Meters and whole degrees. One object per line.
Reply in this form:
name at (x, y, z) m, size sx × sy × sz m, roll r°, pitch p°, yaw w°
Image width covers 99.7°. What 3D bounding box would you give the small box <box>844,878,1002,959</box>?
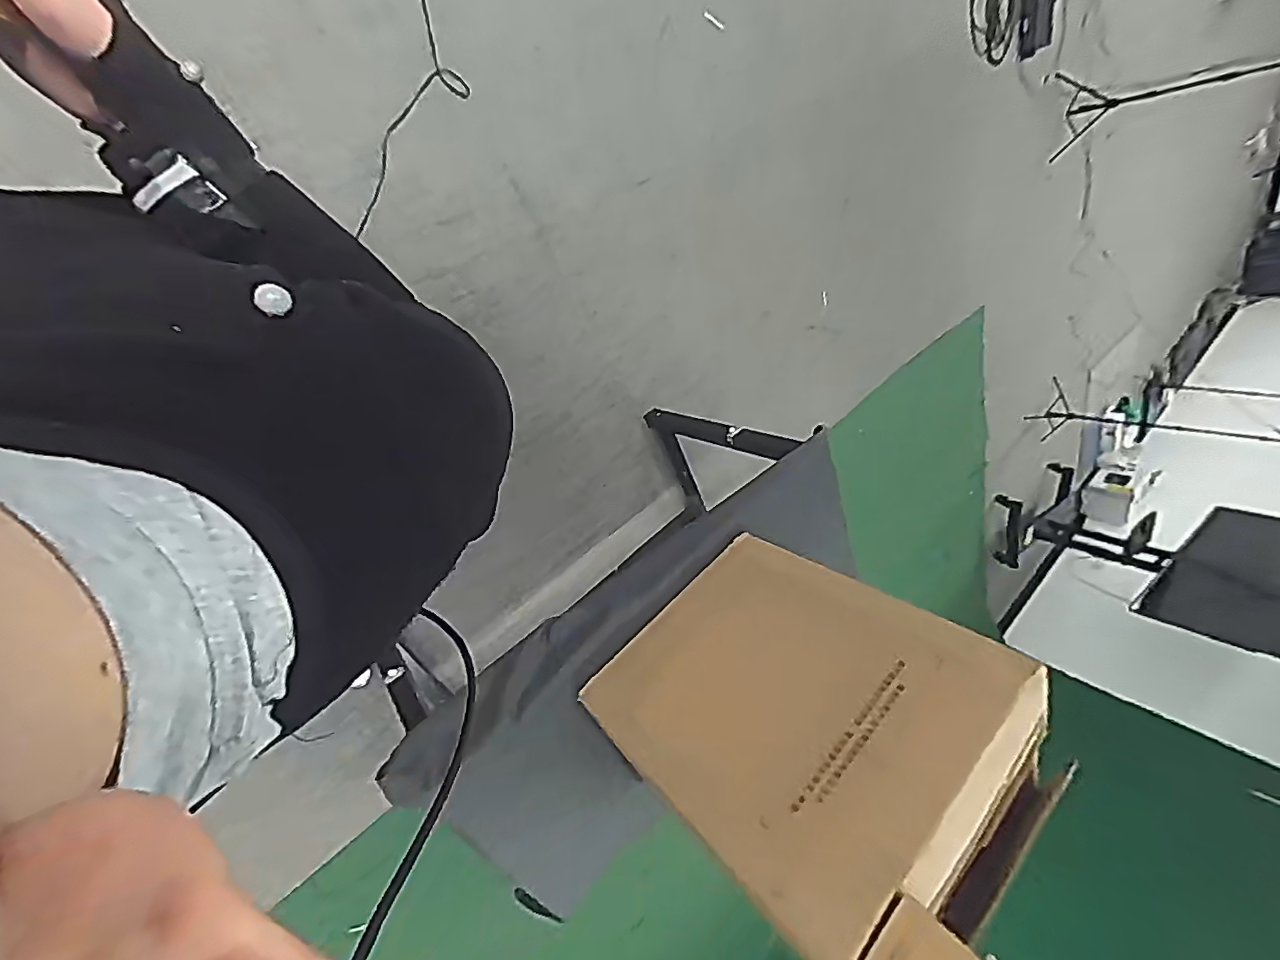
small box at (0.359, 0.629, 0.650) m, size 0.168 × 0.176 × 0.179 m, roll -45°, pitch 127°, yaw -15°
